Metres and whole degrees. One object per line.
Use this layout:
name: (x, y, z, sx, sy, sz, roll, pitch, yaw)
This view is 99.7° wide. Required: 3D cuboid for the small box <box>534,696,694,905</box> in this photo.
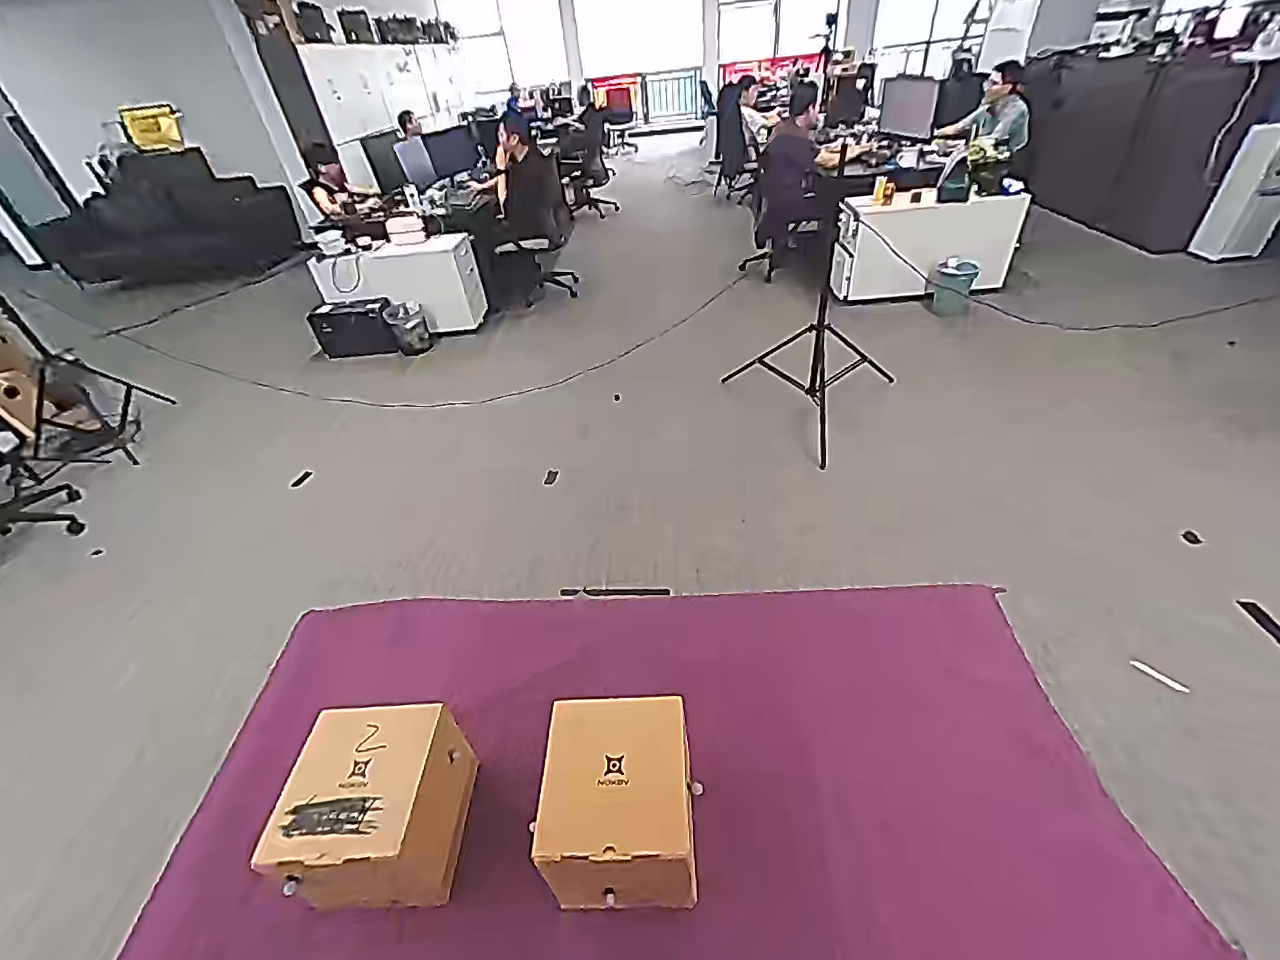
small box: (-0.021, 0.393, 0.667, 0.168, 0.176, 0.179, -4, 39, 4)
